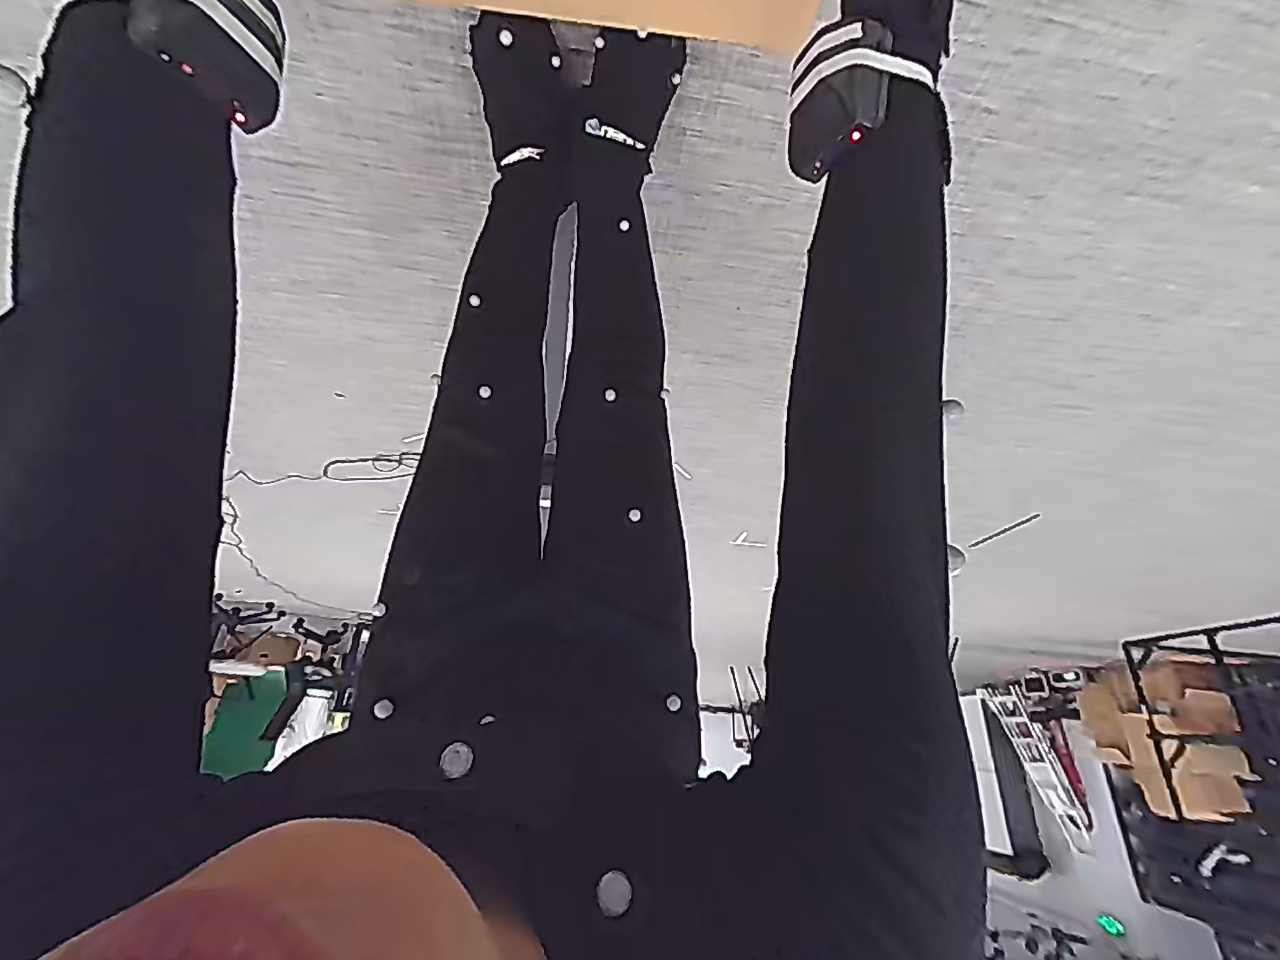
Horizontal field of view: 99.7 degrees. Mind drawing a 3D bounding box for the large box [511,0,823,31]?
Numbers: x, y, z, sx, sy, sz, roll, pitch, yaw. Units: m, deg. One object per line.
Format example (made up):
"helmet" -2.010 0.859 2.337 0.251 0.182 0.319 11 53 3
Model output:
"large box" -0.040 -0.584 0.369 0.408 0.320 0.320 3 154 -4
